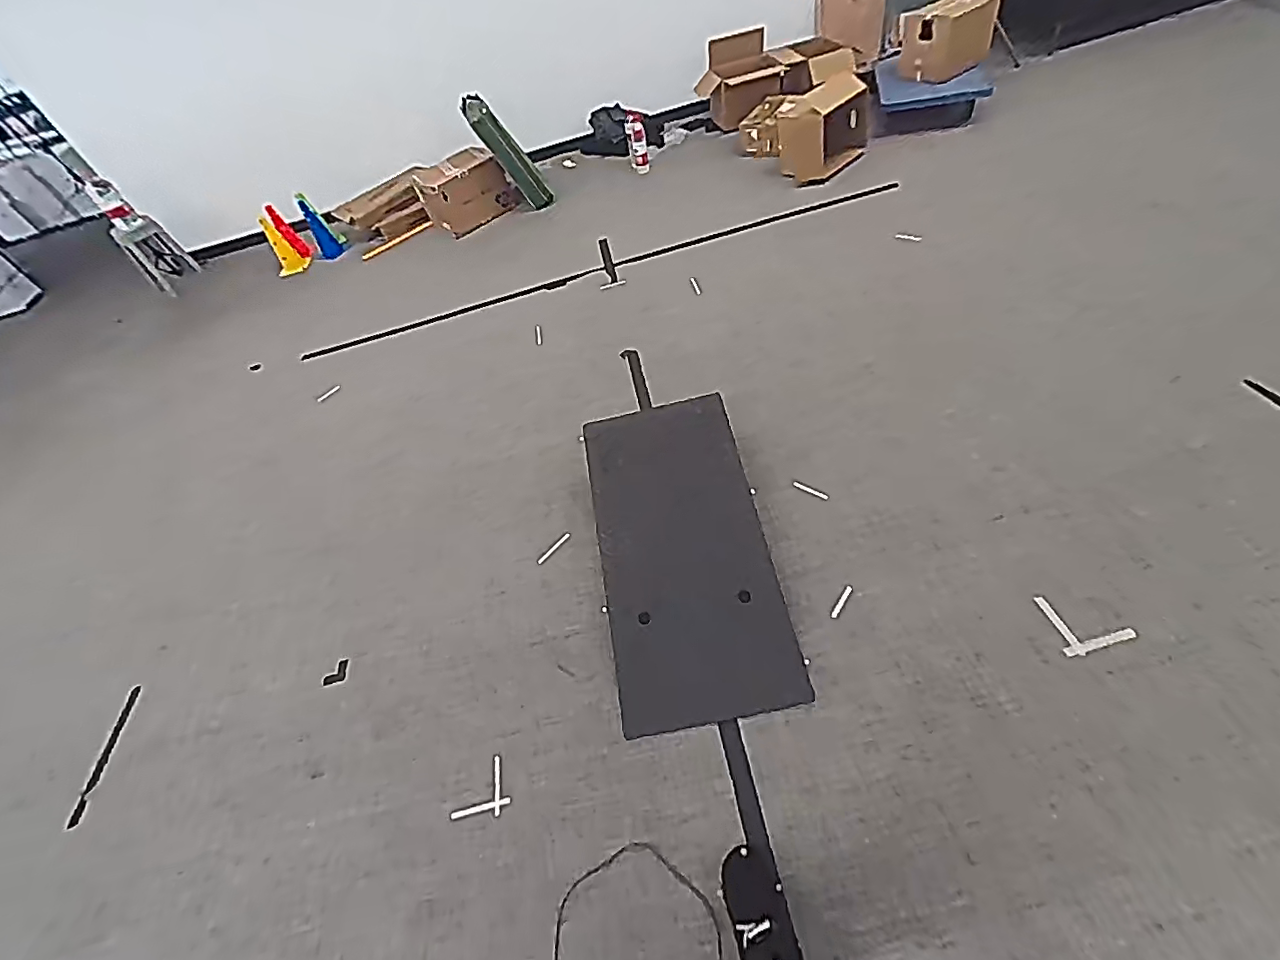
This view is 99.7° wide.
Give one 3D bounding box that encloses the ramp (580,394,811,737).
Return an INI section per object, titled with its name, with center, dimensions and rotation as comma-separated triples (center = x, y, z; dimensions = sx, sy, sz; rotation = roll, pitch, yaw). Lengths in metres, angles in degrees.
[ramp]
center = 0.115, 0.182, 1.615
dimensions = 0.509, 0.206, 0.991
rotation = -14, 49, 2
